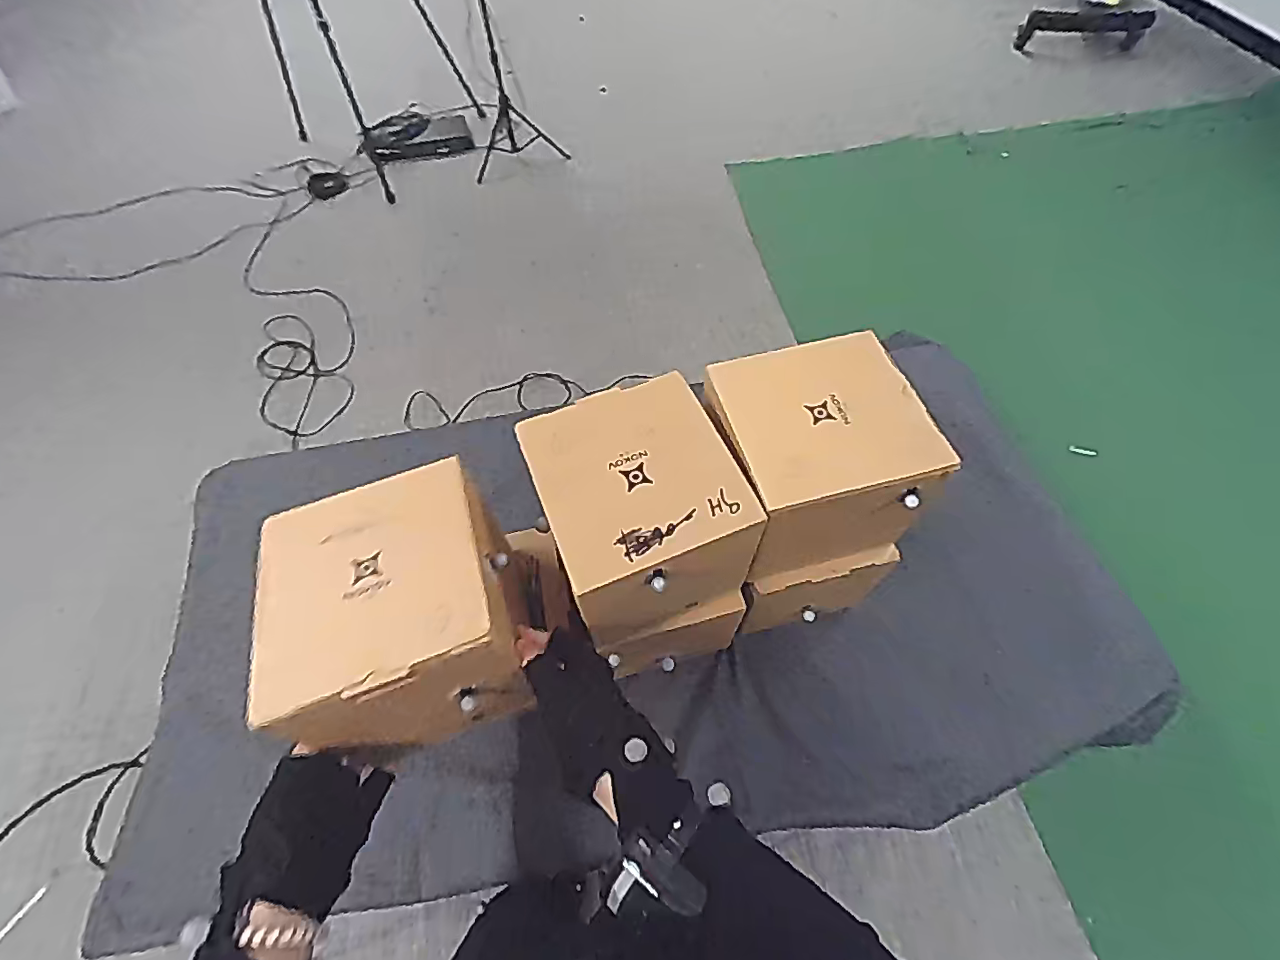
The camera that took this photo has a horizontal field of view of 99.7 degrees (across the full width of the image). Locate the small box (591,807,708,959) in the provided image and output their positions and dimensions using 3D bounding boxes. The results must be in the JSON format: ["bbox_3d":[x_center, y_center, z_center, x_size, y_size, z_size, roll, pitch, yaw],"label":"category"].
[{"bbox_3d":[0.025,0.827,1.096,0.168,0.176,0.179,13,31,40],"label":"small box"}]

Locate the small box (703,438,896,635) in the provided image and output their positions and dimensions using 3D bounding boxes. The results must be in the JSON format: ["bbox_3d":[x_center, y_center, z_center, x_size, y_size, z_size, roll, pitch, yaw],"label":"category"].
[{"bbox_3d":[0.183,0.076,0.691,0.168,0.176,0.179,-13,60,-5],"label":"small box"}]
